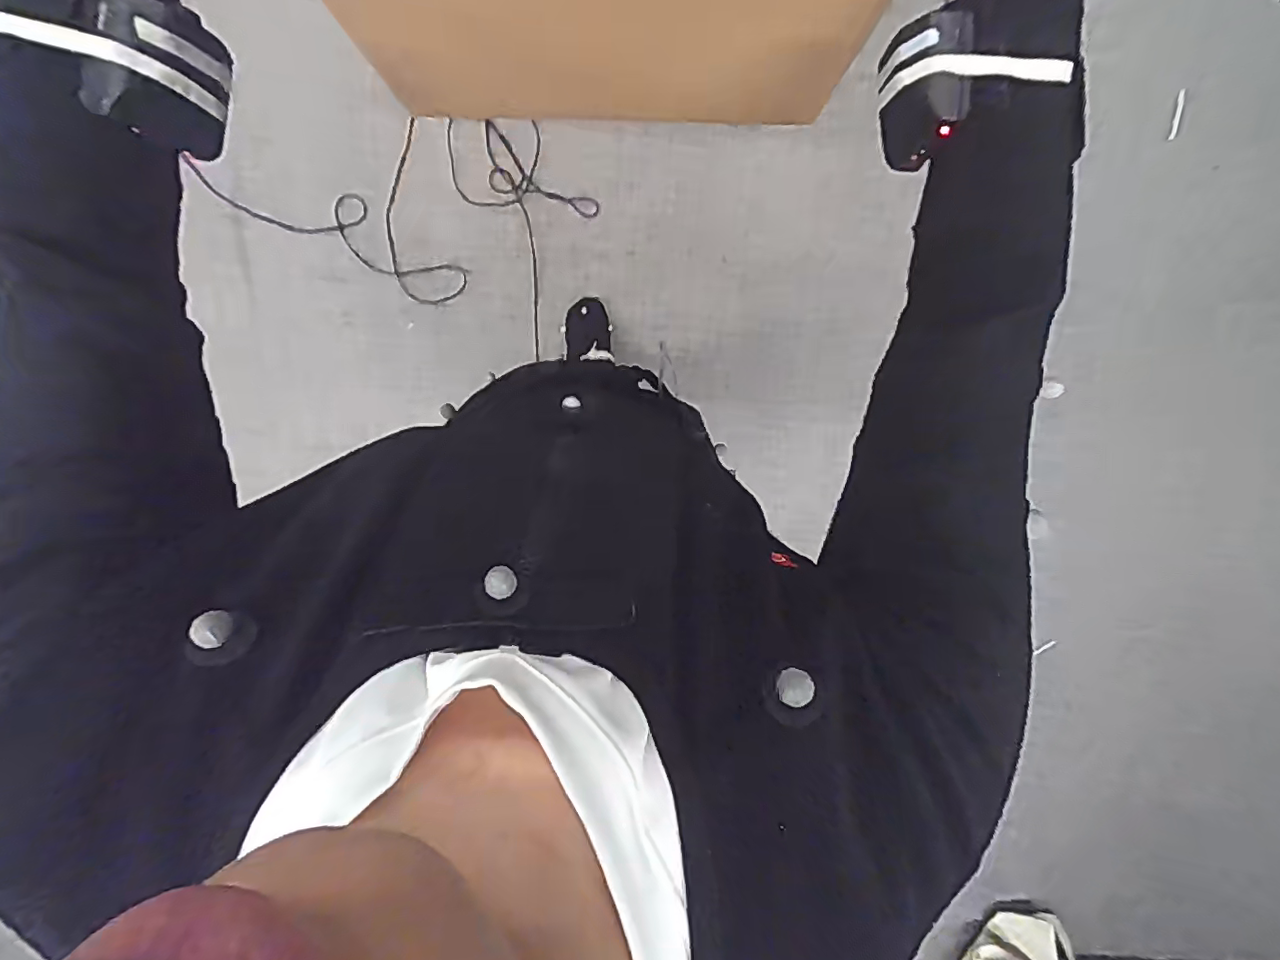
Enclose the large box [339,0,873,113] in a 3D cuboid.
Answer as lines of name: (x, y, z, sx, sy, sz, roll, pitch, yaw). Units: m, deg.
large box: (-0.025, -0.497, 0.373, 0.408, 0.320, 0.320, 0, 98, -2)
